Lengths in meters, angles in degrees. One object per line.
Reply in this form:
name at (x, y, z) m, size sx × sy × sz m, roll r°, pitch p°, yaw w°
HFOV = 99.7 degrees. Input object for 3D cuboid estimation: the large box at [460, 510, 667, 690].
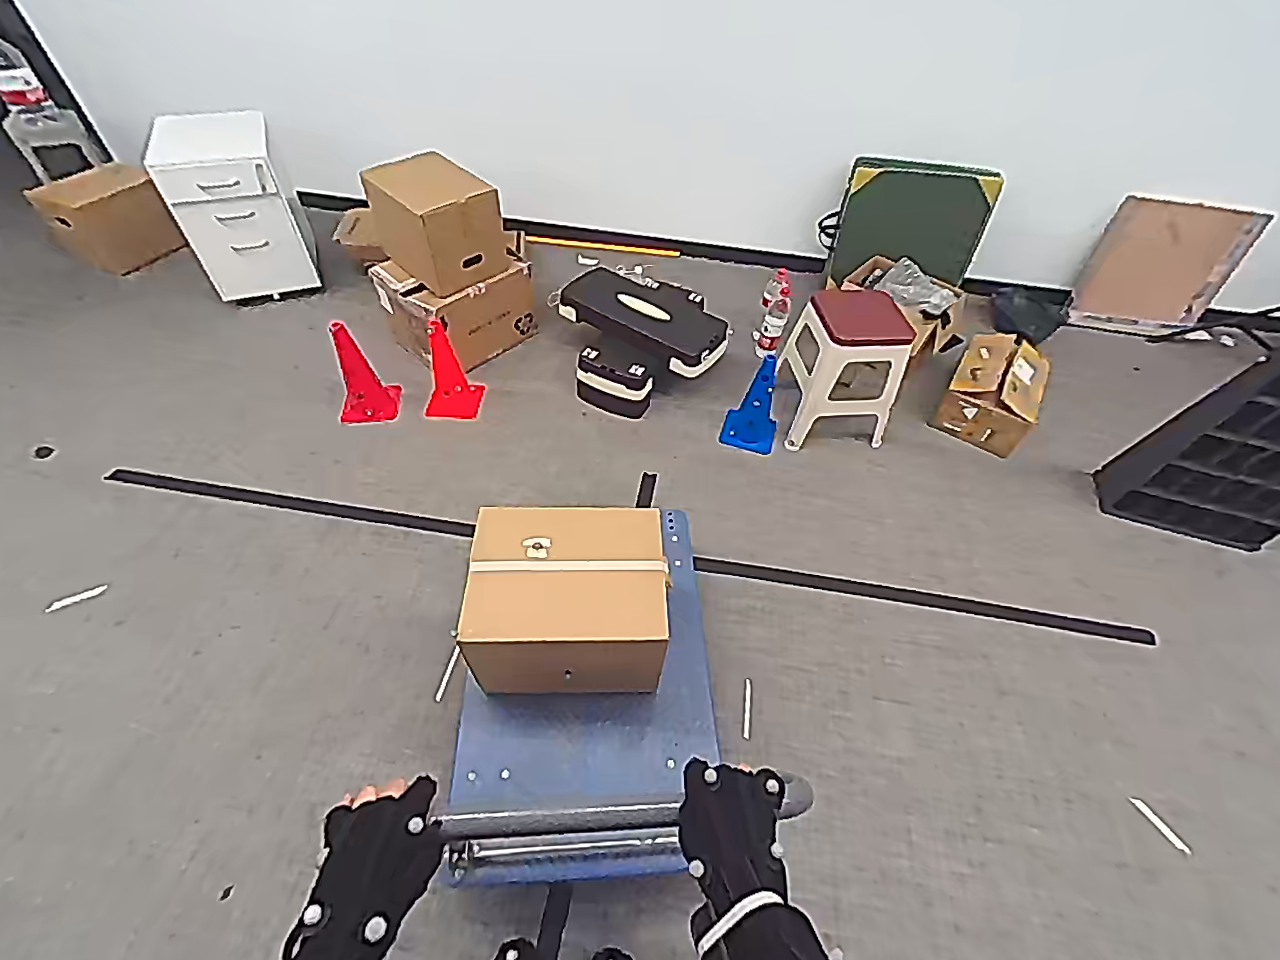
large box at (-0.157, 0.283, 1.251) m, size 0.408 × 0.320 × 0.320 m, roll 0°, pitch 51°, yaw -3°
